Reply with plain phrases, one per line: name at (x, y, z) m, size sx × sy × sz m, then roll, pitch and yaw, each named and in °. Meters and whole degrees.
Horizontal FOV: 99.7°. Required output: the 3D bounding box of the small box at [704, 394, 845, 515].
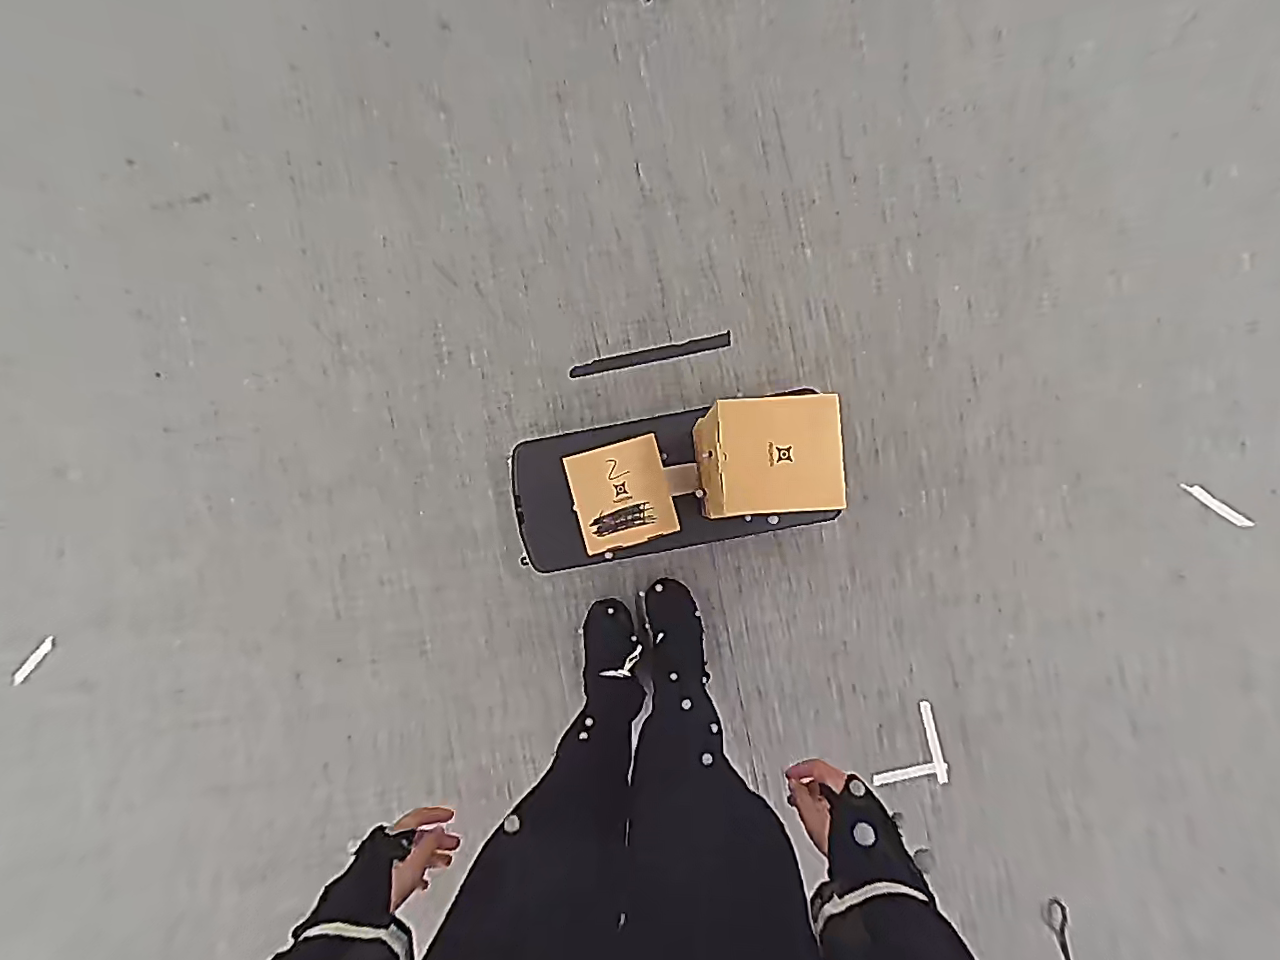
small box at (0.199, -0.036, 0.838) m, size 0.179 × 0.176 × 0.168 m, roll -4°, pitch 88°, yaw 2°

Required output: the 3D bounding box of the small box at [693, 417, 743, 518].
small box at (0.192, -0.028, 1.002) m, size 0.168 × 0.176 × 0.179 m, roll -7°, pitch 87°, yaw 1°
